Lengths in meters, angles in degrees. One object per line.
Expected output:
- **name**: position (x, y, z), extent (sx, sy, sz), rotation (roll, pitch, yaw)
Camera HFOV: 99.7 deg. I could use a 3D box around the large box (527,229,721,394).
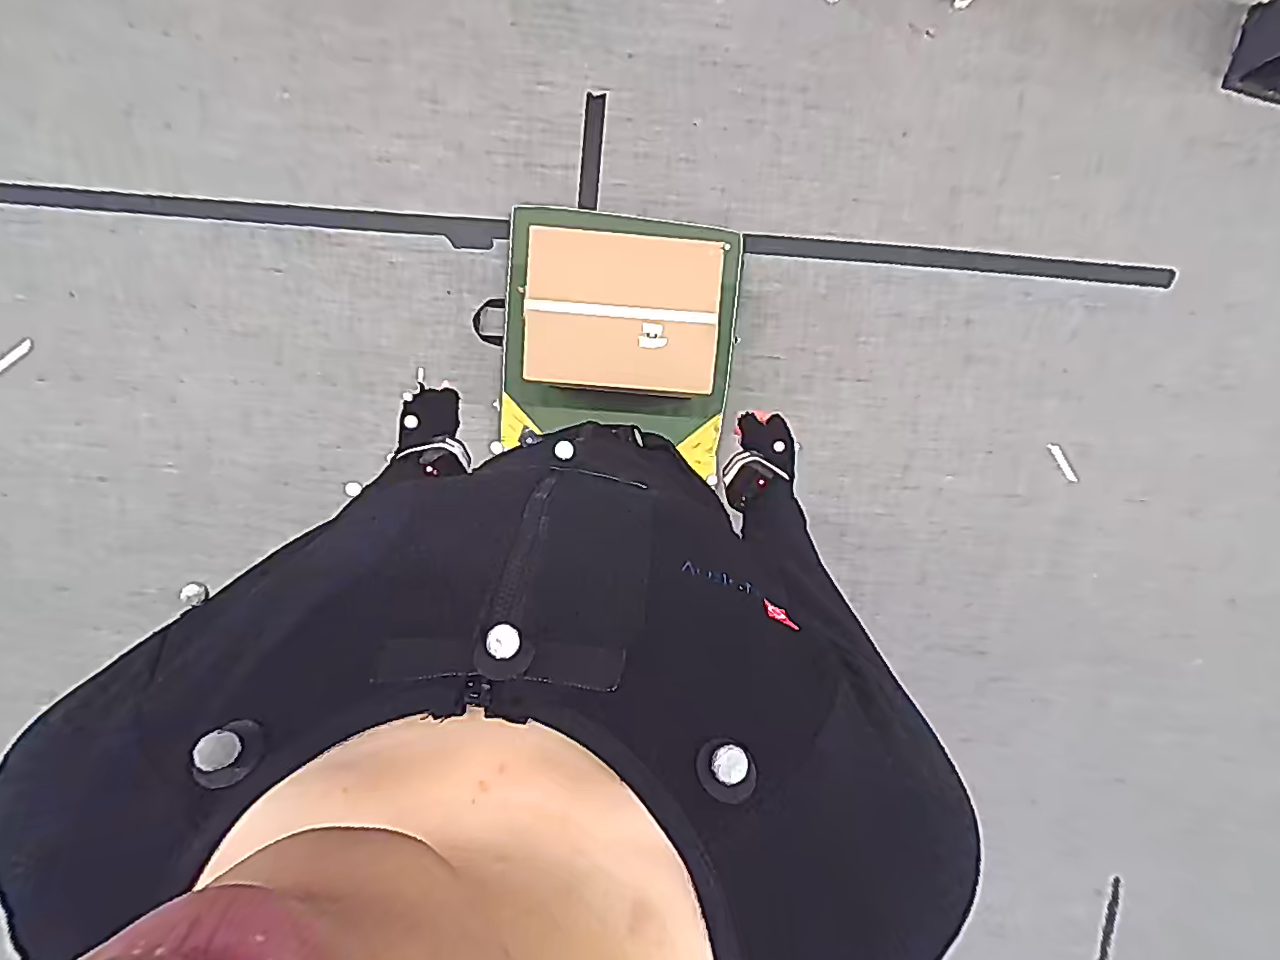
- **large box**: position (-0.044, -0.375, 1.289), extent (0.408, 0.320, 0.320), rotation (4, 98, -3)
